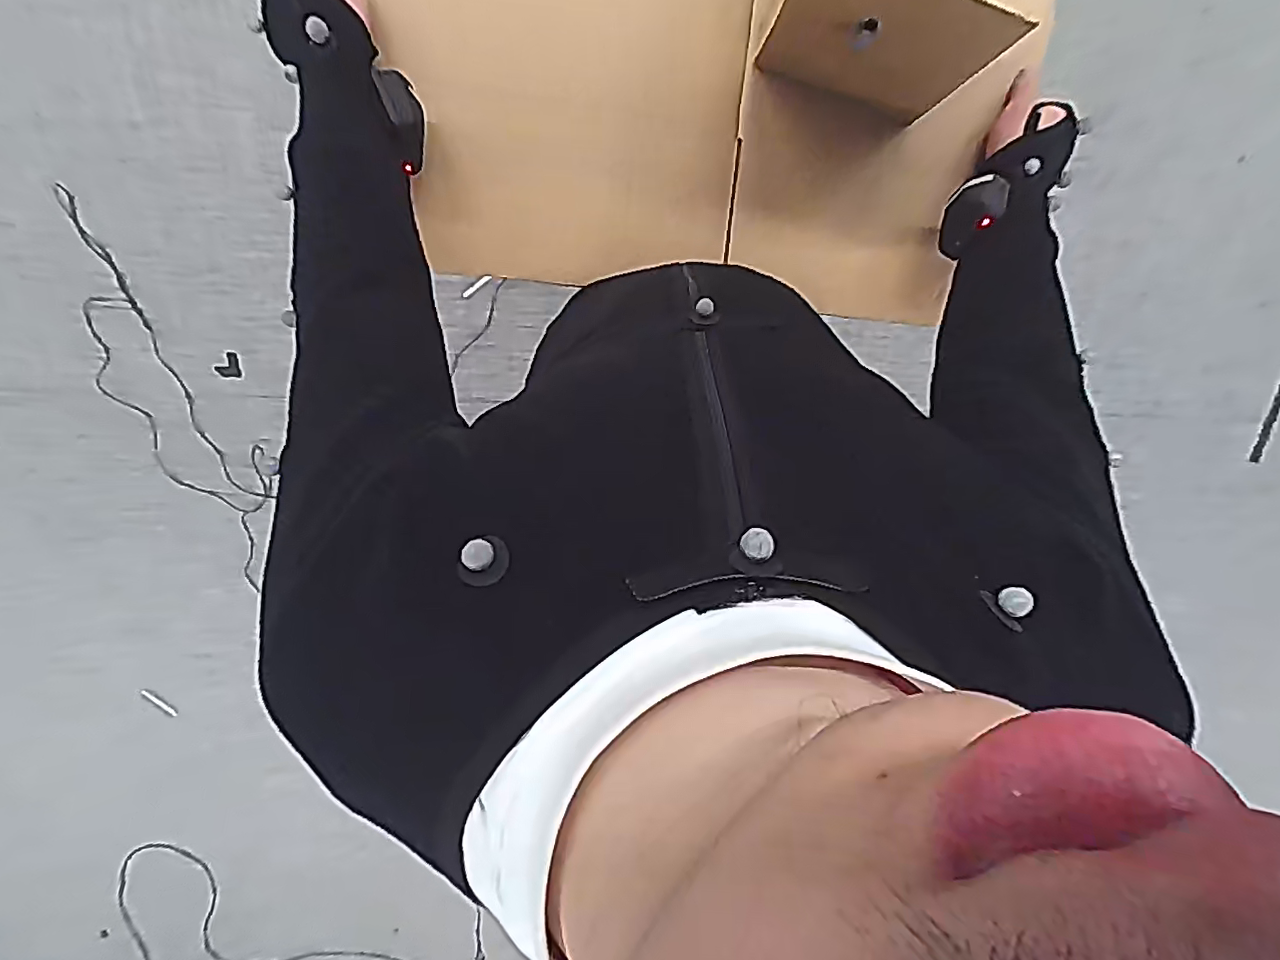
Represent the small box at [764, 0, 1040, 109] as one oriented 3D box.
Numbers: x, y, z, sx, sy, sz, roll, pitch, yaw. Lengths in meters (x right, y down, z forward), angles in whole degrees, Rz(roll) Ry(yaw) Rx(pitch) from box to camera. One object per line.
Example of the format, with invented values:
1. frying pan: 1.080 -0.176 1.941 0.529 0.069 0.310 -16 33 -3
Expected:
1. small box: 0.221 -0.448 0.447 0.179 0.176 0.168 15 103 -5
